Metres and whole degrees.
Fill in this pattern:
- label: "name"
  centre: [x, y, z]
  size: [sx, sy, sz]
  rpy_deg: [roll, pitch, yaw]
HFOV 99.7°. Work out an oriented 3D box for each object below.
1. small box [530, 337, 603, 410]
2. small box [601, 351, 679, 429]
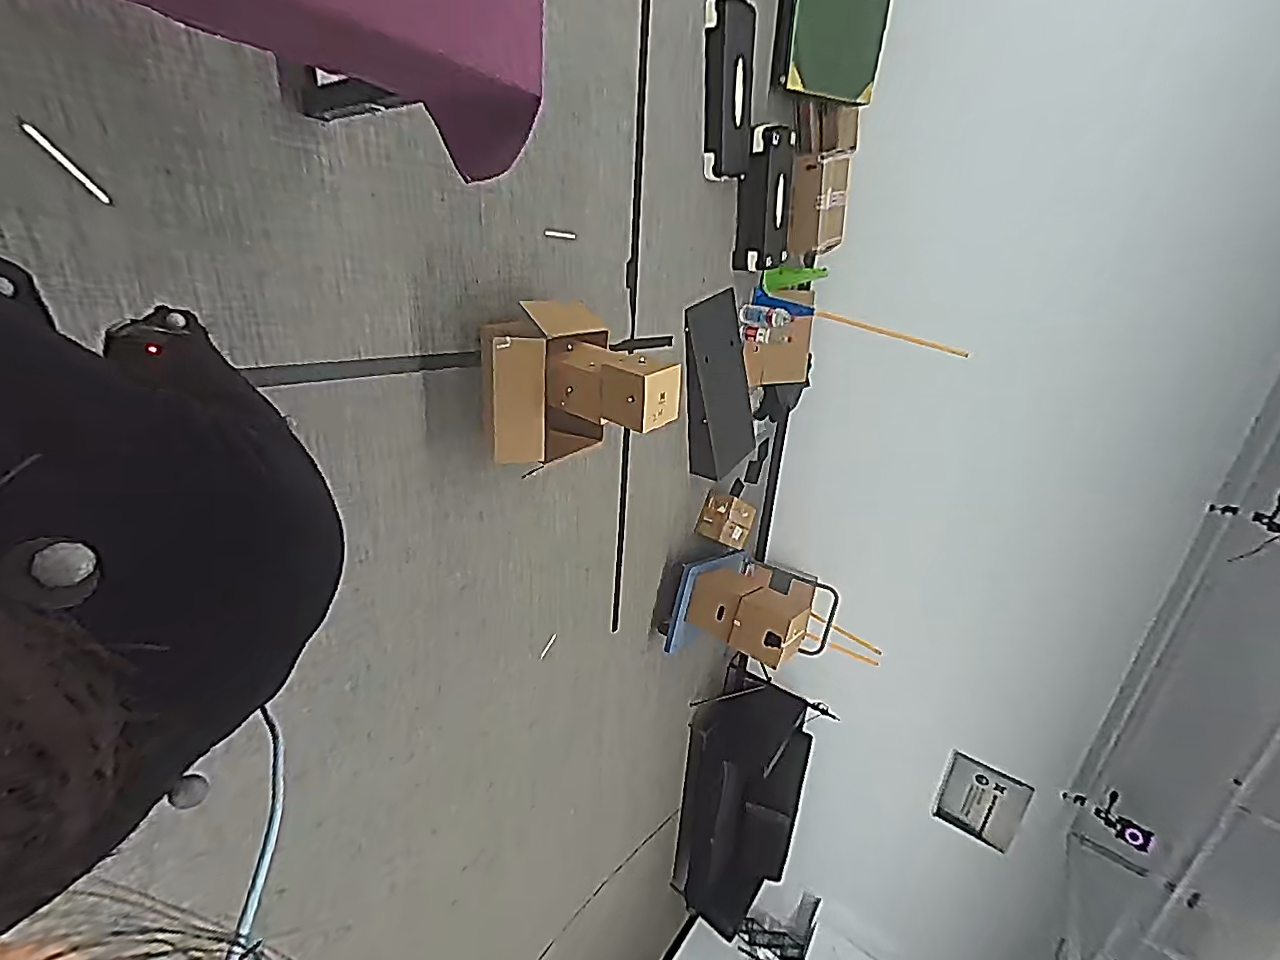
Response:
- label: "small box"
  centre: [-0.243, -0.363, 1.805]
  size: [0.168, 0.176, 0.179]
  rpy_deg: [-42, 140, -33]
- label: "small box"
  centre: [-0.003, -0.273, 1.596]
  size: [0.168, 0.176, 0.179]
  rpy_deg: [-28, 131, -42]
